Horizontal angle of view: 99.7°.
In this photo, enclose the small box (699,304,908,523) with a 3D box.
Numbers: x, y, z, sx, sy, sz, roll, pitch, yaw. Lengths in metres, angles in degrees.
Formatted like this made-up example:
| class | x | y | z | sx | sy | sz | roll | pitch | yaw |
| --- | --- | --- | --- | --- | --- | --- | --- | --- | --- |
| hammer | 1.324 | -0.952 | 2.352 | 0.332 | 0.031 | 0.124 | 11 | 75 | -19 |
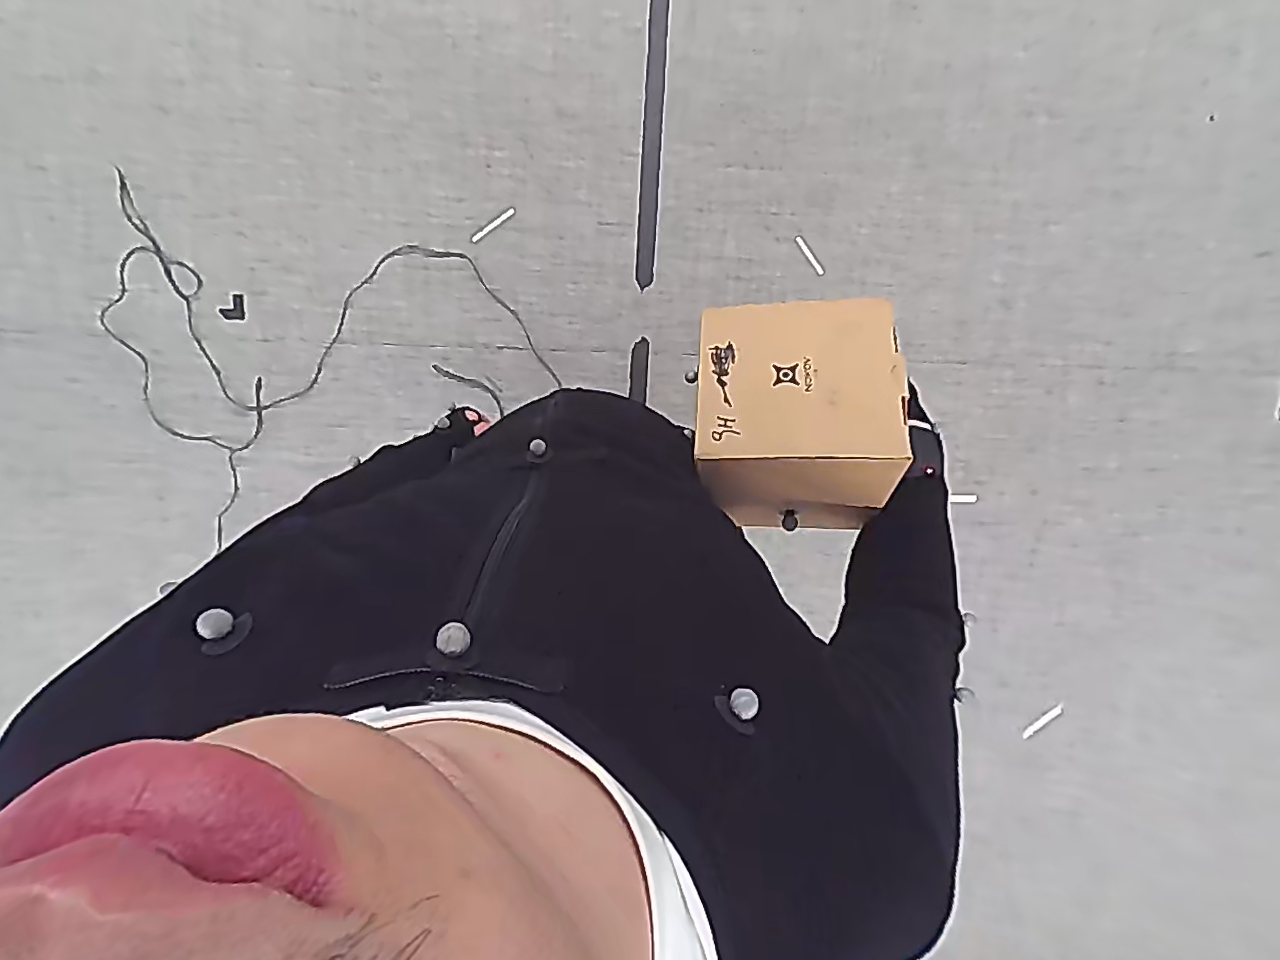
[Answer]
| class | x | y | z | sx | sy | sz | roll | pitch | yaw |
| --- | --- | --- | --- | --- | --- | --- | --- | --- | --- |
| small box | 0.157 | -0.061 | 0.565 | 0.179 | 0.176 | 0.168 | 1 | 65 | 11 |
